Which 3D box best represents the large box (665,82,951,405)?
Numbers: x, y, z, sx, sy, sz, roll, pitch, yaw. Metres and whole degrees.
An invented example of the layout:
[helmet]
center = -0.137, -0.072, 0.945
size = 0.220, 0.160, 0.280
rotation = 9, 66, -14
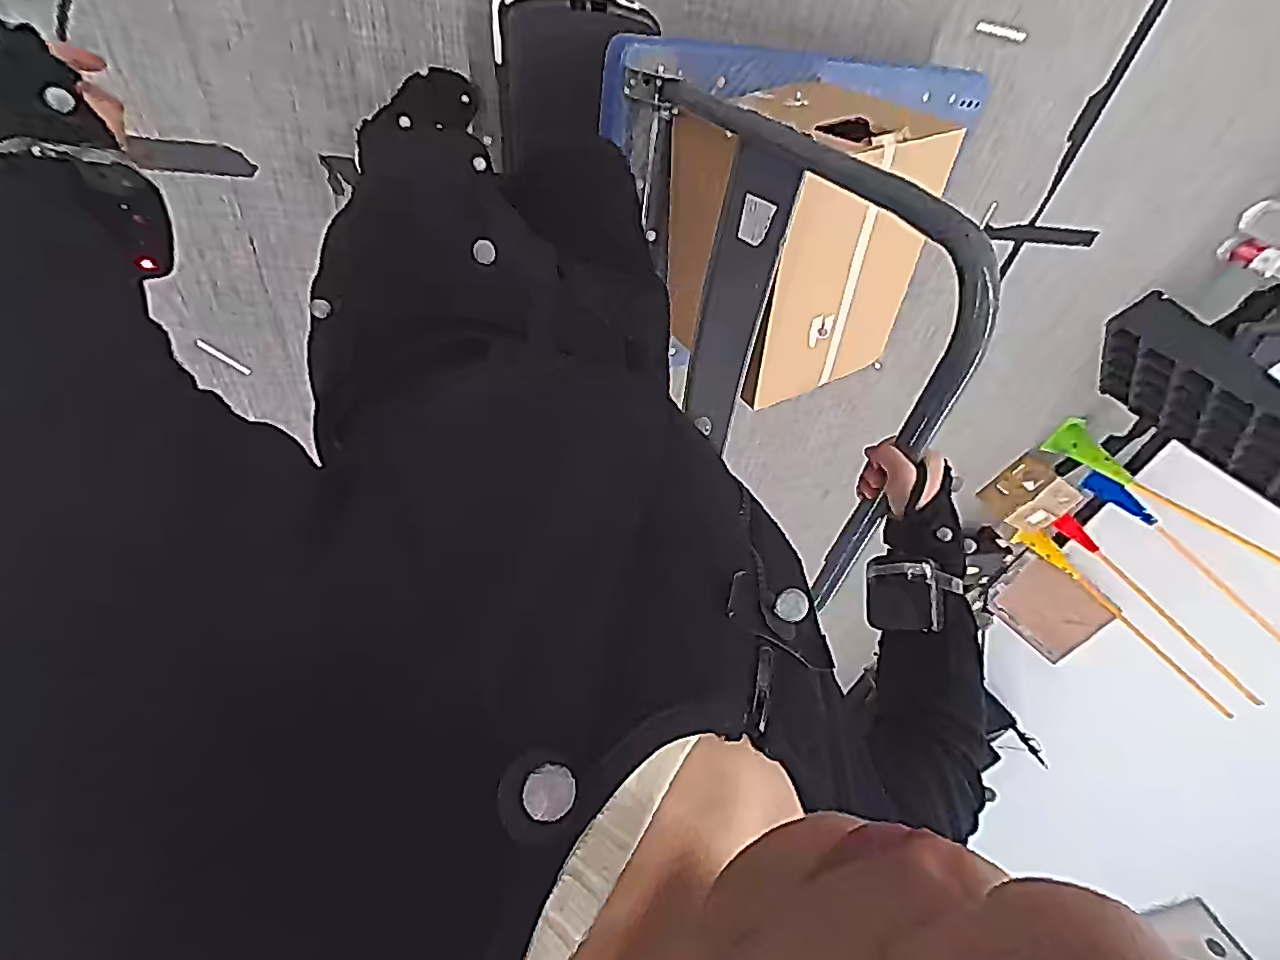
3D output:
[large box]
center = 0.250, -0.418, 0.963
size = 0.320, 0.320, 0.408
rotation = -22, 142, -19
